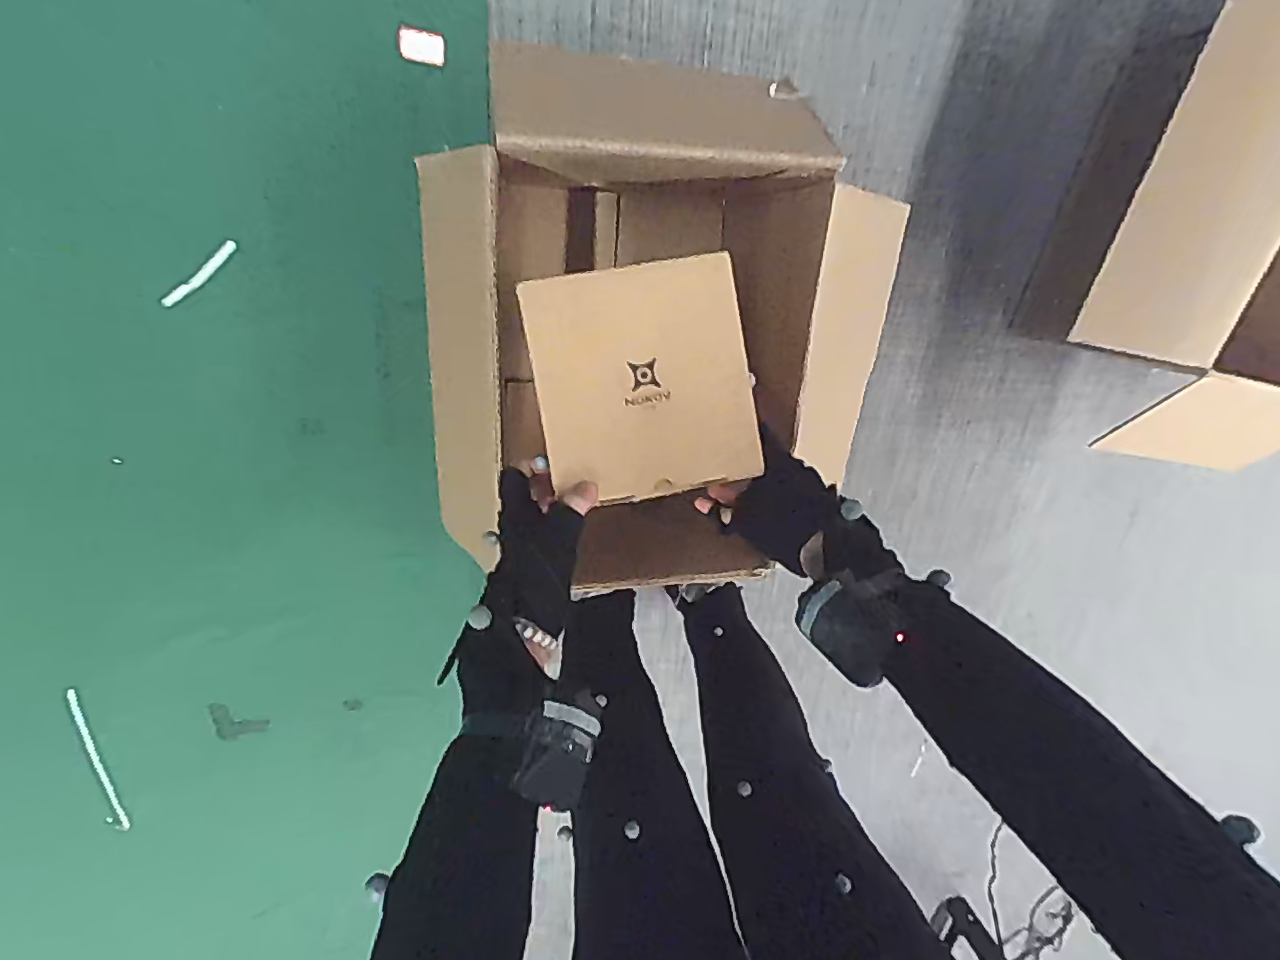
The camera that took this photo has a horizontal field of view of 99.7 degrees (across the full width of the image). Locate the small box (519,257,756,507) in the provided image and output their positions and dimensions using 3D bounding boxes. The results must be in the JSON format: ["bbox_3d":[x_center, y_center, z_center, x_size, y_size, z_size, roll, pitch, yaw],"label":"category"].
[{"bbox_3d":[-0.010,-0.081,0.501,0.168,0.176,0.179,-11,95,-6],"label":"small box"}]
